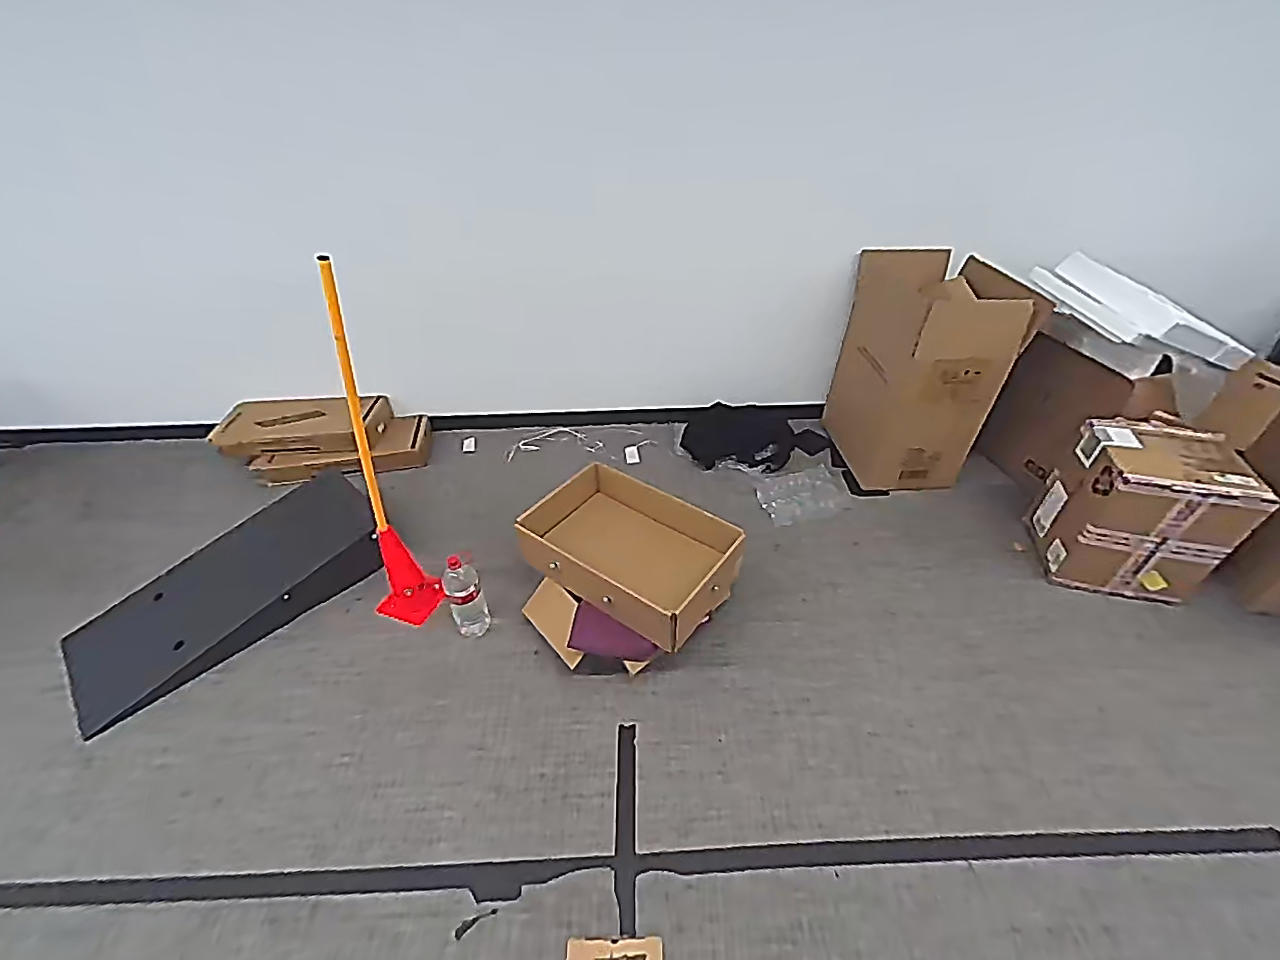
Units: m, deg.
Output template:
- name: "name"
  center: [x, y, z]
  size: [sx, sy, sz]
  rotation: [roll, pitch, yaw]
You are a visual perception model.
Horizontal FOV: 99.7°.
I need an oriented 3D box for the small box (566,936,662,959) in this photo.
- name: "small box"
  center: [-0.045, 0.908, 0.919]
  size: [0.168, 0.176, 0.179]
  rotation: [-1, 40, 0]
